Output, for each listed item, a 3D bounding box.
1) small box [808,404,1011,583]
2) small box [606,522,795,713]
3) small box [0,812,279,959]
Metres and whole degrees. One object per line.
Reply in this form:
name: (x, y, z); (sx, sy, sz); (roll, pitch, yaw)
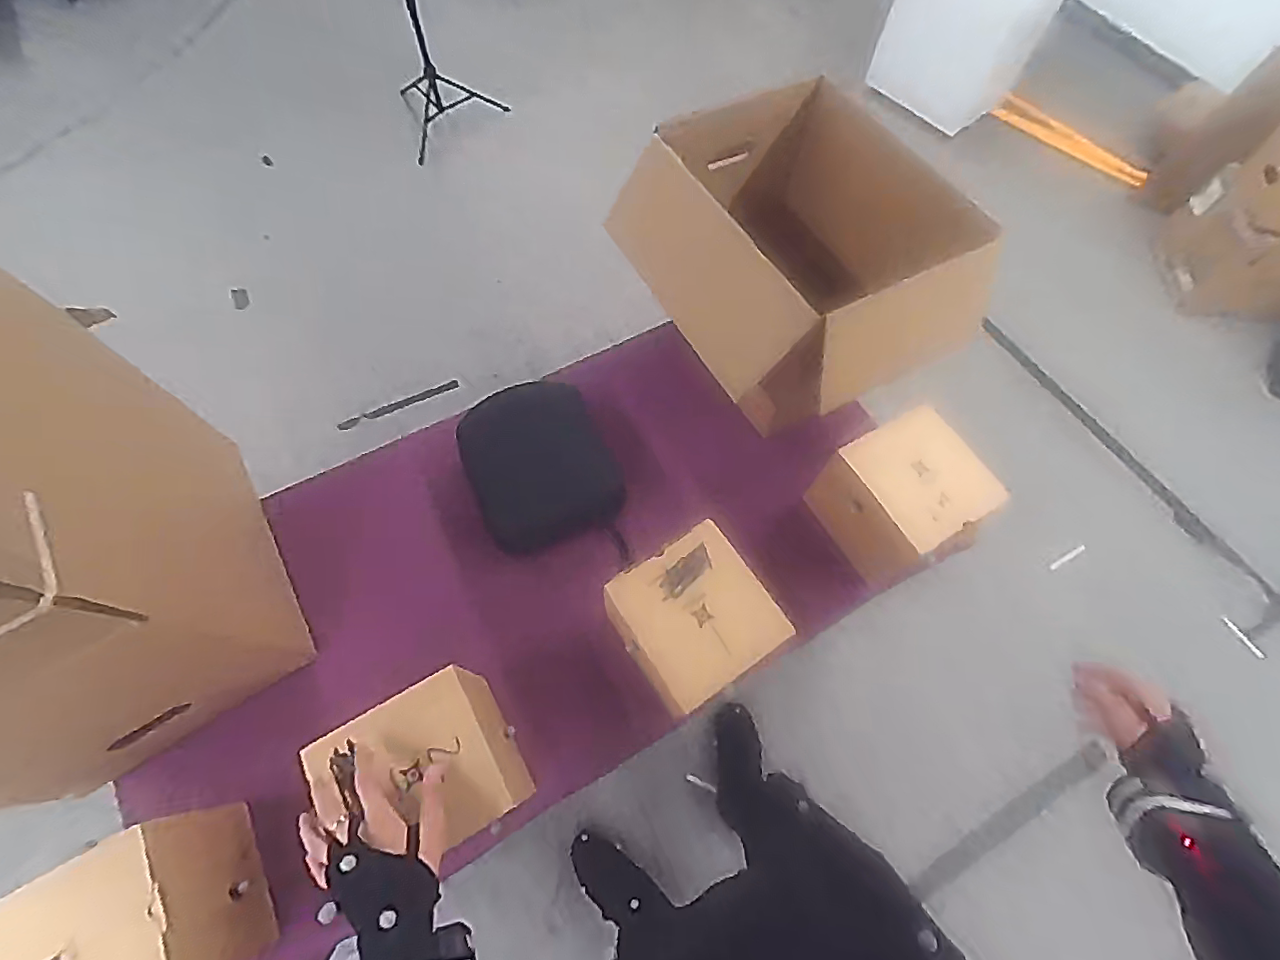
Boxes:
small box: (0.379, 0.026, 0.800); (0.168, 0.176, 0.179); (-27, 68, -12)
small box: (0.068, 0.190, 0.719); (0.168, 0.176, 0.179); (-31, 70, -14)
small box: (-0.530, 0.484, 0.568); (0.179, 0.176, 0.168); (-28, 69, -15)
